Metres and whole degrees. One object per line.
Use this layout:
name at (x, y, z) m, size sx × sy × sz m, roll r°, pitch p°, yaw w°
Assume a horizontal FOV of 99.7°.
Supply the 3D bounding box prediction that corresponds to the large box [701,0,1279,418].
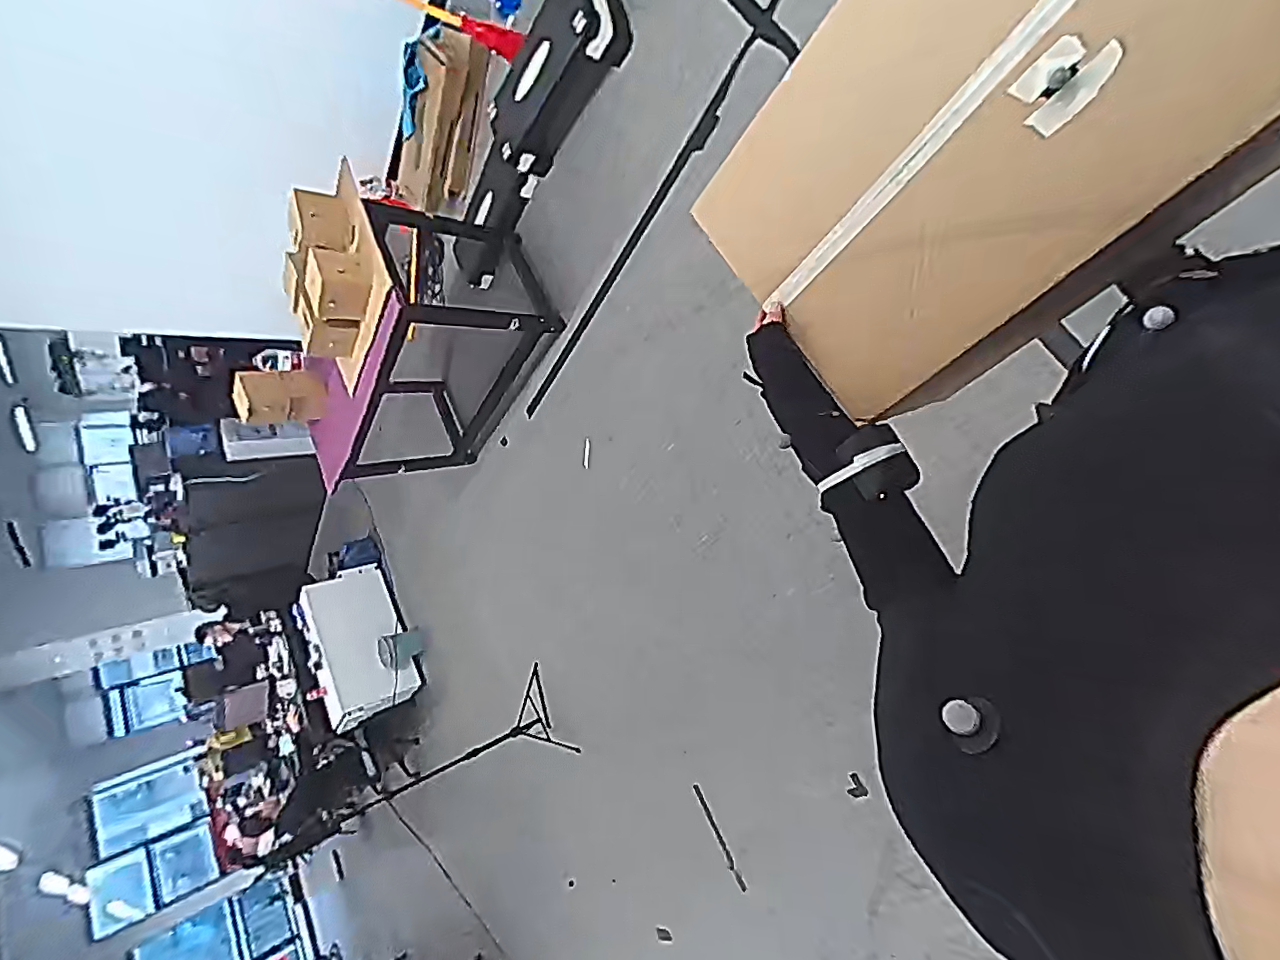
large box at (0.348, -0.315, 0.562) m, size 0.408 × 0.320 × 0.320 m, roll -45°, pitch 71°, yaw 39°
